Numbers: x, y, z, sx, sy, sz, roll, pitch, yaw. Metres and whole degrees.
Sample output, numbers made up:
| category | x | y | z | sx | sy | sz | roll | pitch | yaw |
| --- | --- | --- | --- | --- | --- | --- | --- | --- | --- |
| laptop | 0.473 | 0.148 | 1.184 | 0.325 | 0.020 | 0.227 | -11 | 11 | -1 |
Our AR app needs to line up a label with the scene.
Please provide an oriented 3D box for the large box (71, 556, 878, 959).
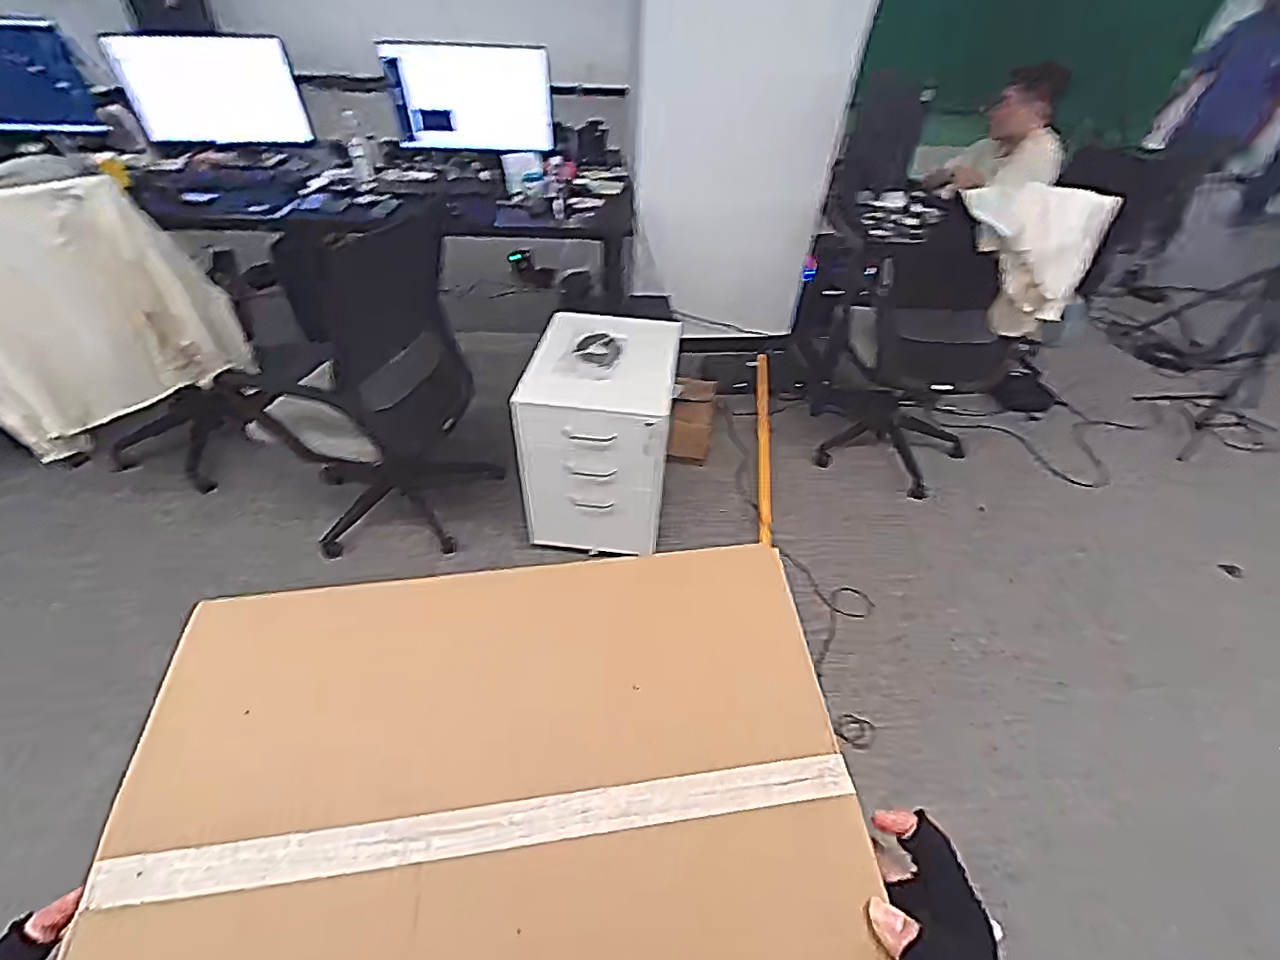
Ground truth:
| category | x | y | z | sx | sy | sz | roll | pitch | yaw |
| --- | --- | --- | --- | --- | --- | --- | --- | --- | --- |
| large box | -0.088 | 0.288 | 0.421 | 0.408 | 0.320 | 0.320 | -6 | 53 | -5 |
